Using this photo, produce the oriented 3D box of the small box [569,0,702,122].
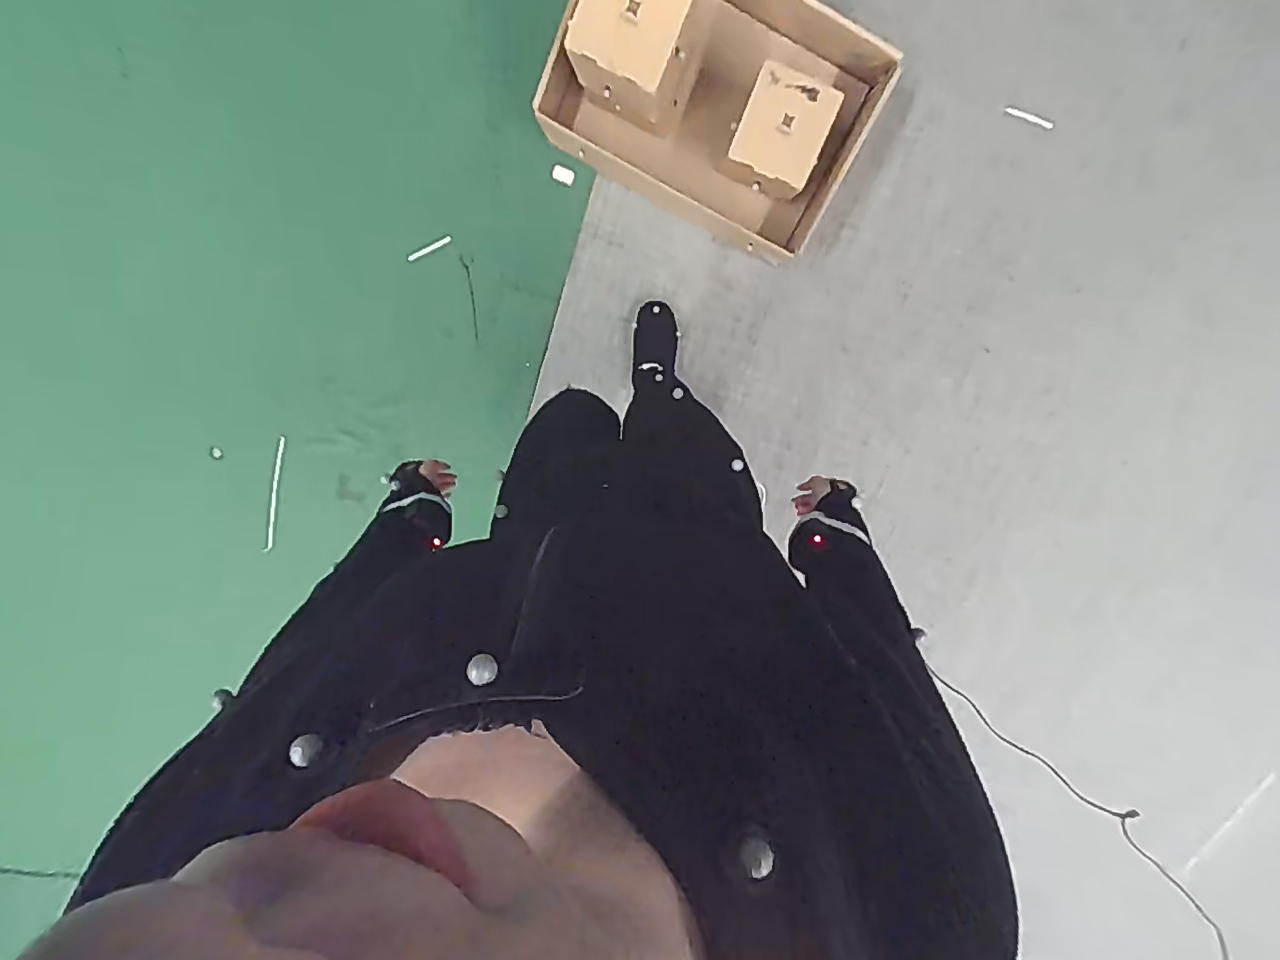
[{"bbox_3d":[-0.005,-0.765,0.933,0.168,0.176,0.179,25,110,-6],"label":"small box"}]
